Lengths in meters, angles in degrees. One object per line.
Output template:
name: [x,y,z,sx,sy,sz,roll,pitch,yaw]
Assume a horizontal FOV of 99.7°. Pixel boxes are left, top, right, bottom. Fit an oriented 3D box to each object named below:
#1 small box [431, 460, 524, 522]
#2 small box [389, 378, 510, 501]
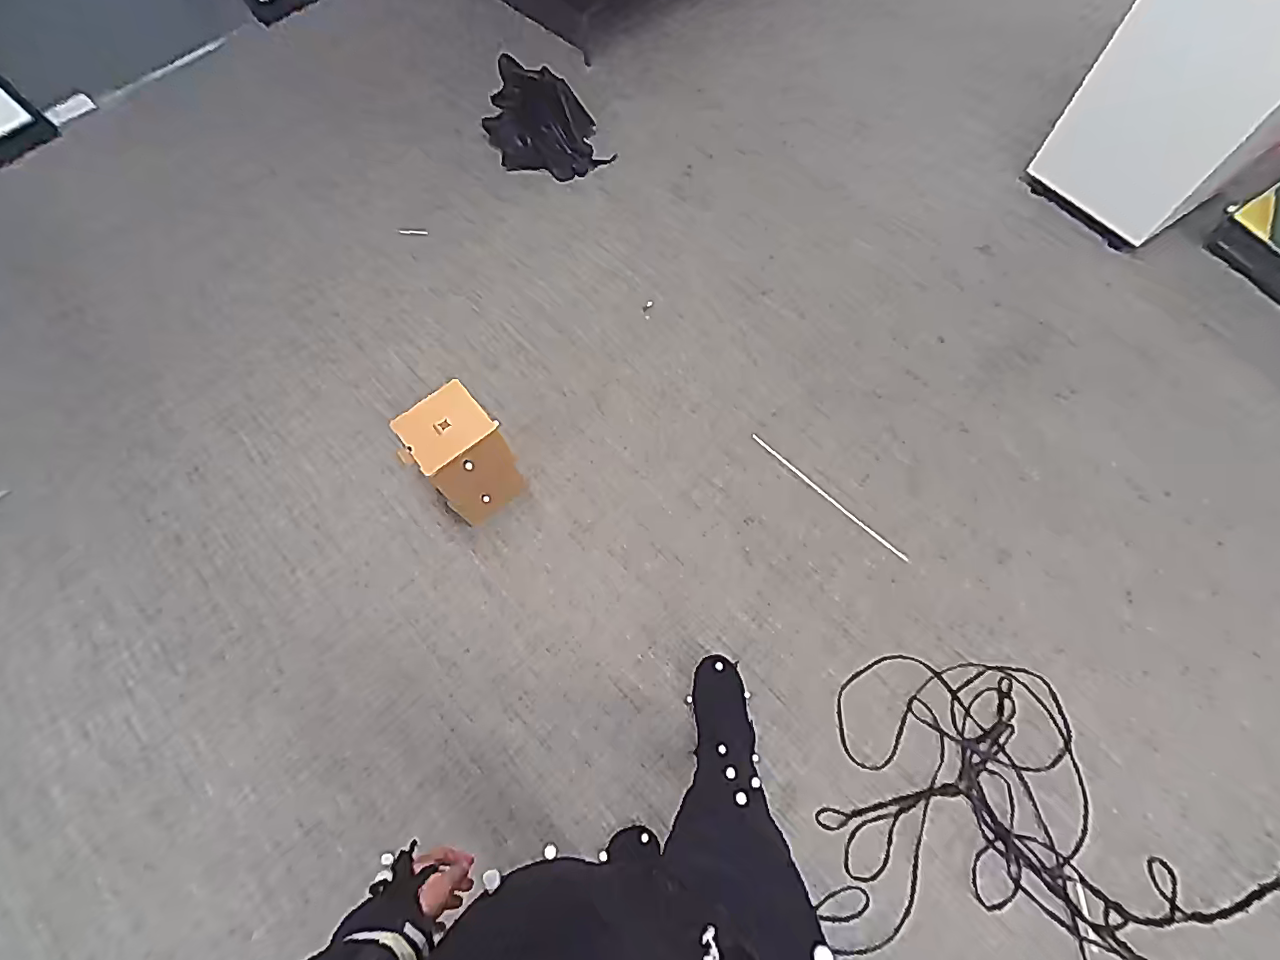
small box: [-0.419,-0.022,1.353,0.179,0.176,0.168,-39,71,-11]
small box: [-0.410,-0.085,1.202,0.179,0.176,0.168,-38,71,-12]
